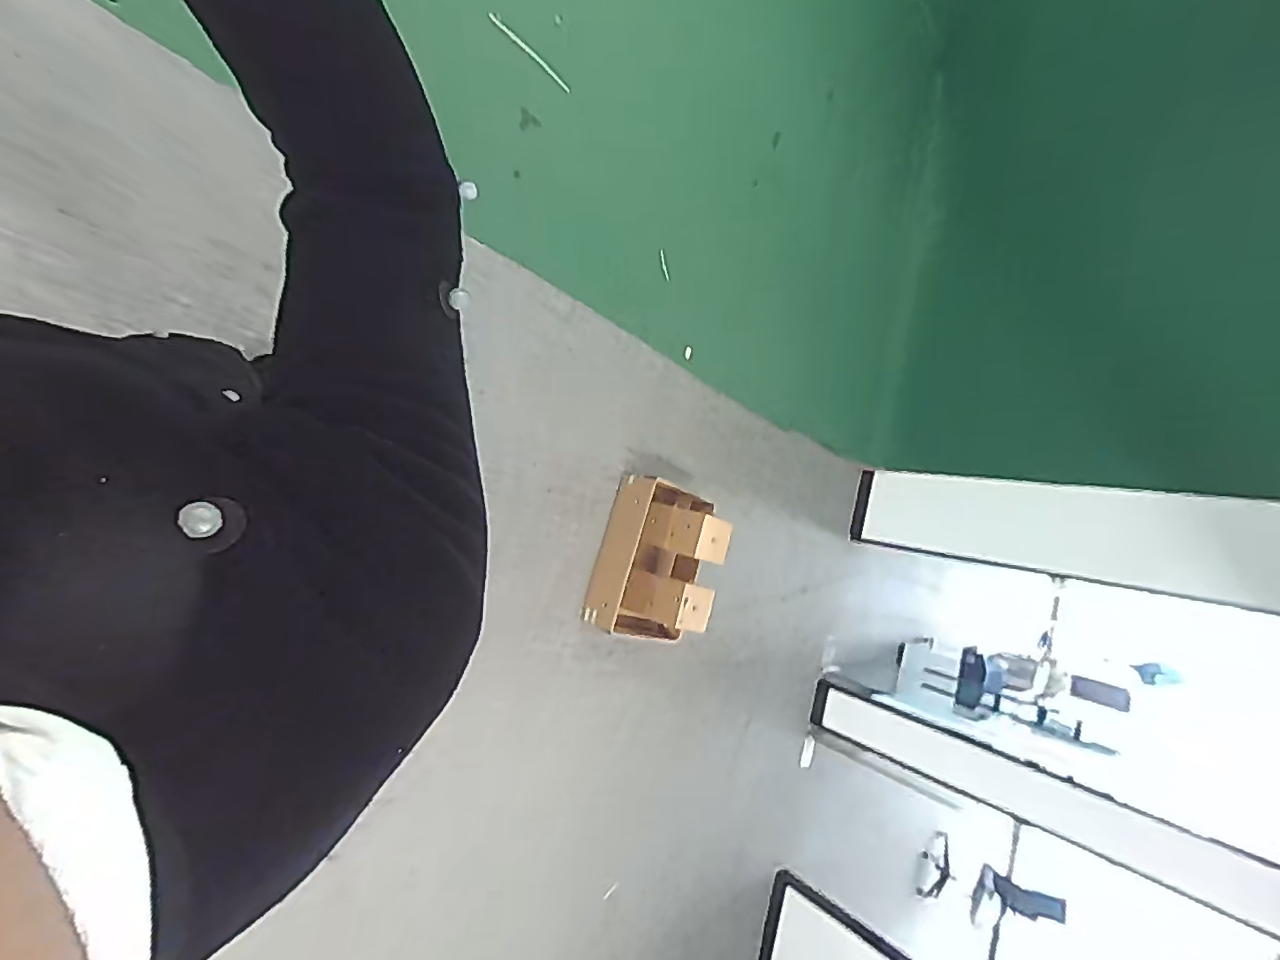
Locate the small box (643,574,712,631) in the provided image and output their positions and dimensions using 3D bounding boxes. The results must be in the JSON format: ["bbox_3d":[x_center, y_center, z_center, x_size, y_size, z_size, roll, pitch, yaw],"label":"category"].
[{"bbox_3d":[0.142,0.461,2.048,0.179,0.176,0.168,22,79,-42],"label":"small box"}]

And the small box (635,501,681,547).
[{"bbox_3d":[0.107,0.188,2.201,0.179,0.176,0.168,22,81,-42],"label":"small box"}]

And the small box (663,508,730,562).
[{"bbox_3d":[0.214,0.208,2.082,0.179,0.176,0.168,20,82,-42],"label":"small box"}]
